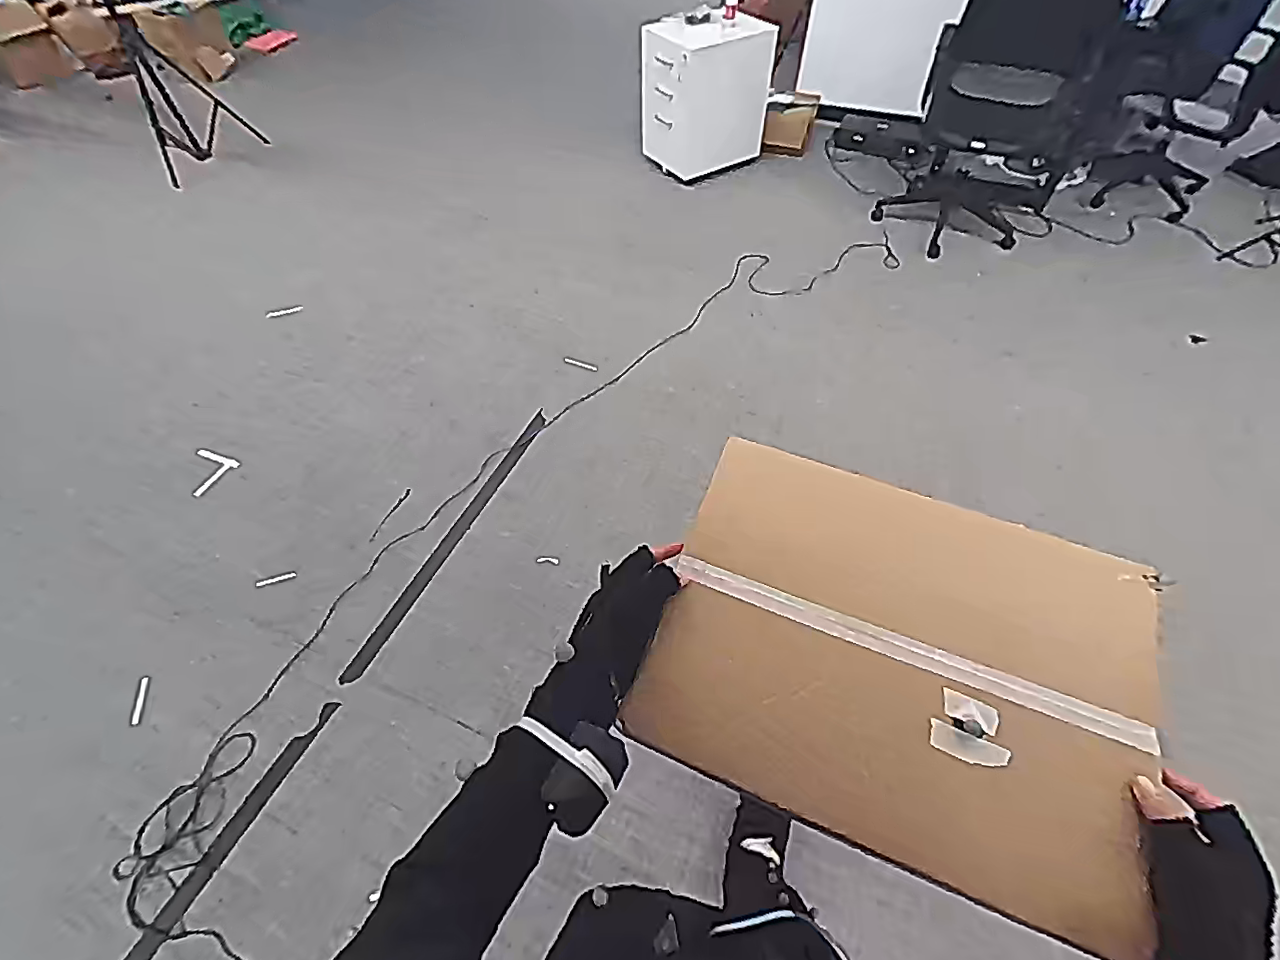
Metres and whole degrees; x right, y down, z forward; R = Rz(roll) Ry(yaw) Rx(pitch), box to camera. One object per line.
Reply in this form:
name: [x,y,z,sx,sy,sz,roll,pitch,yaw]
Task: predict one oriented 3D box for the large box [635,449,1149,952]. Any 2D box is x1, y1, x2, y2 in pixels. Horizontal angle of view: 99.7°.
large box: [0.238,0.220,0.619,0.408,0.320,0.320,20,66,13]
